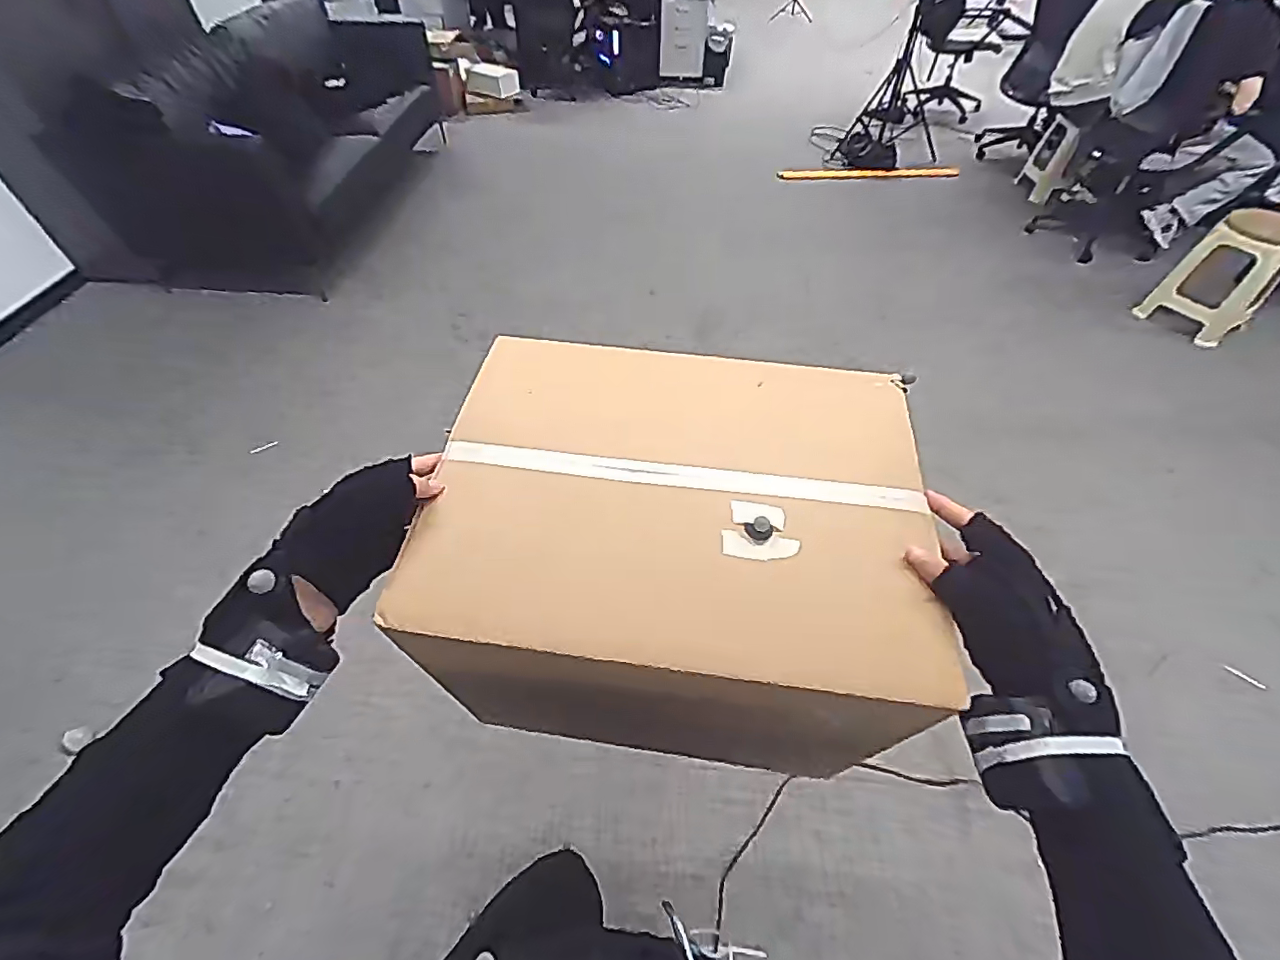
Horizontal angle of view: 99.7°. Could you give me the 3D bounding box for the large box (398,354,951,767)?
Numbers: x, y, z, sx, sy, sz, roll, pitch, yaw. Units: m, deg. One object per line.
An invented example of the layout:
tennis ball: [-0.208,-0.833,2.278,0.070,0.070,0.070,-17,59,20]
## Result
large box: [0.034,0.094,0.588,0.408,0.320,0.320,6,54,5]
